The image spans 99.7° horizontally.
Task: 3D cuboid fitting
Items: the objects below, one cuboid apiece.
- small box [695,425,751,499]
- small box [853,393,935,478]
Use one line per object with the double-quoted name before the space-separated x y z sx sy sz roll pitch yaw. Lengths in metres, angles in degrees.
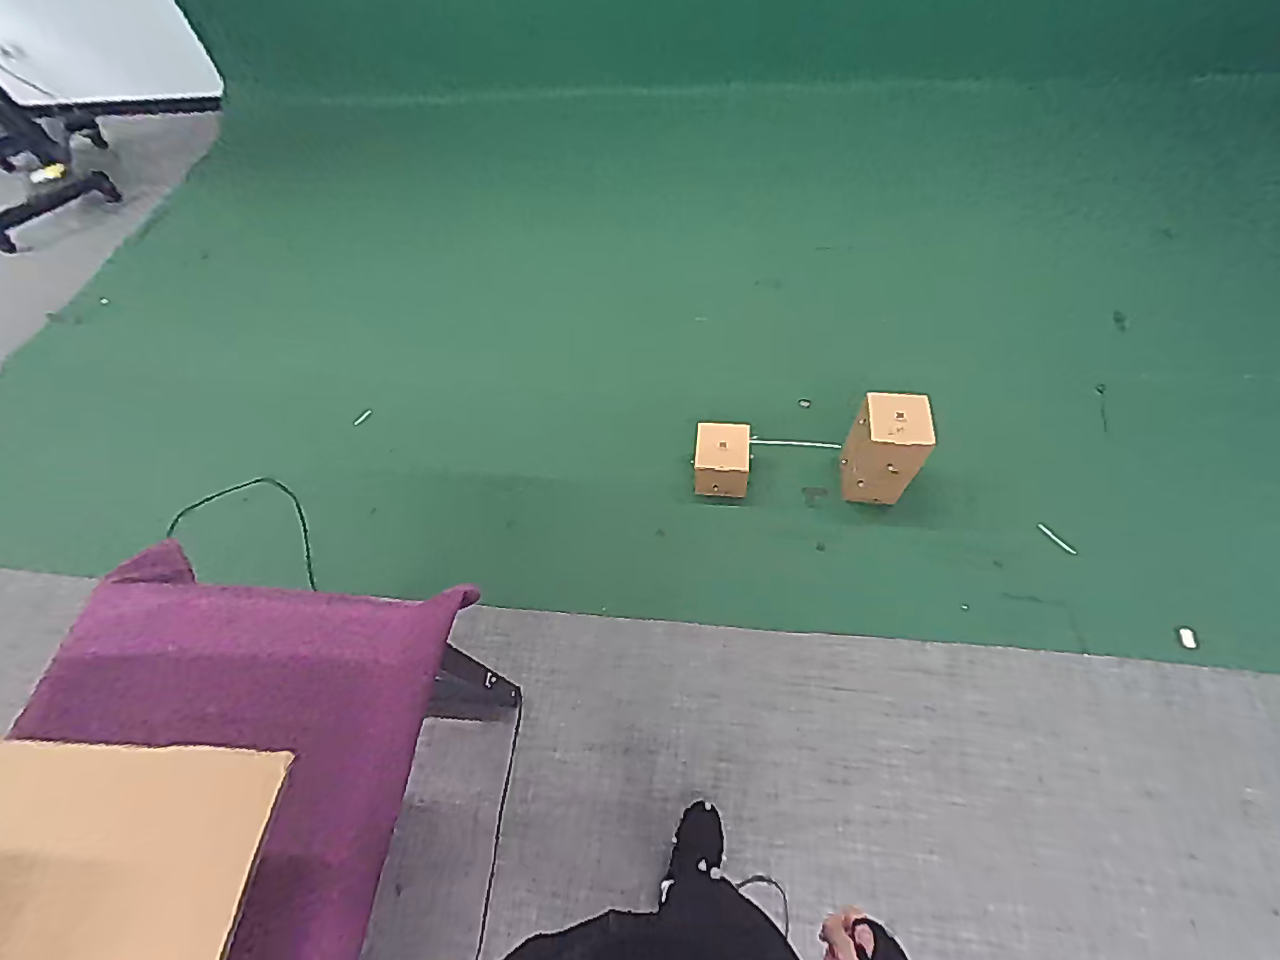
"small box" 0.267 -0.057 1.756 0.168 0.176 0.179 3 60 7
"small box" 0.725 -0.126 1.561 0.168 0.176 0.179 4 60 8
